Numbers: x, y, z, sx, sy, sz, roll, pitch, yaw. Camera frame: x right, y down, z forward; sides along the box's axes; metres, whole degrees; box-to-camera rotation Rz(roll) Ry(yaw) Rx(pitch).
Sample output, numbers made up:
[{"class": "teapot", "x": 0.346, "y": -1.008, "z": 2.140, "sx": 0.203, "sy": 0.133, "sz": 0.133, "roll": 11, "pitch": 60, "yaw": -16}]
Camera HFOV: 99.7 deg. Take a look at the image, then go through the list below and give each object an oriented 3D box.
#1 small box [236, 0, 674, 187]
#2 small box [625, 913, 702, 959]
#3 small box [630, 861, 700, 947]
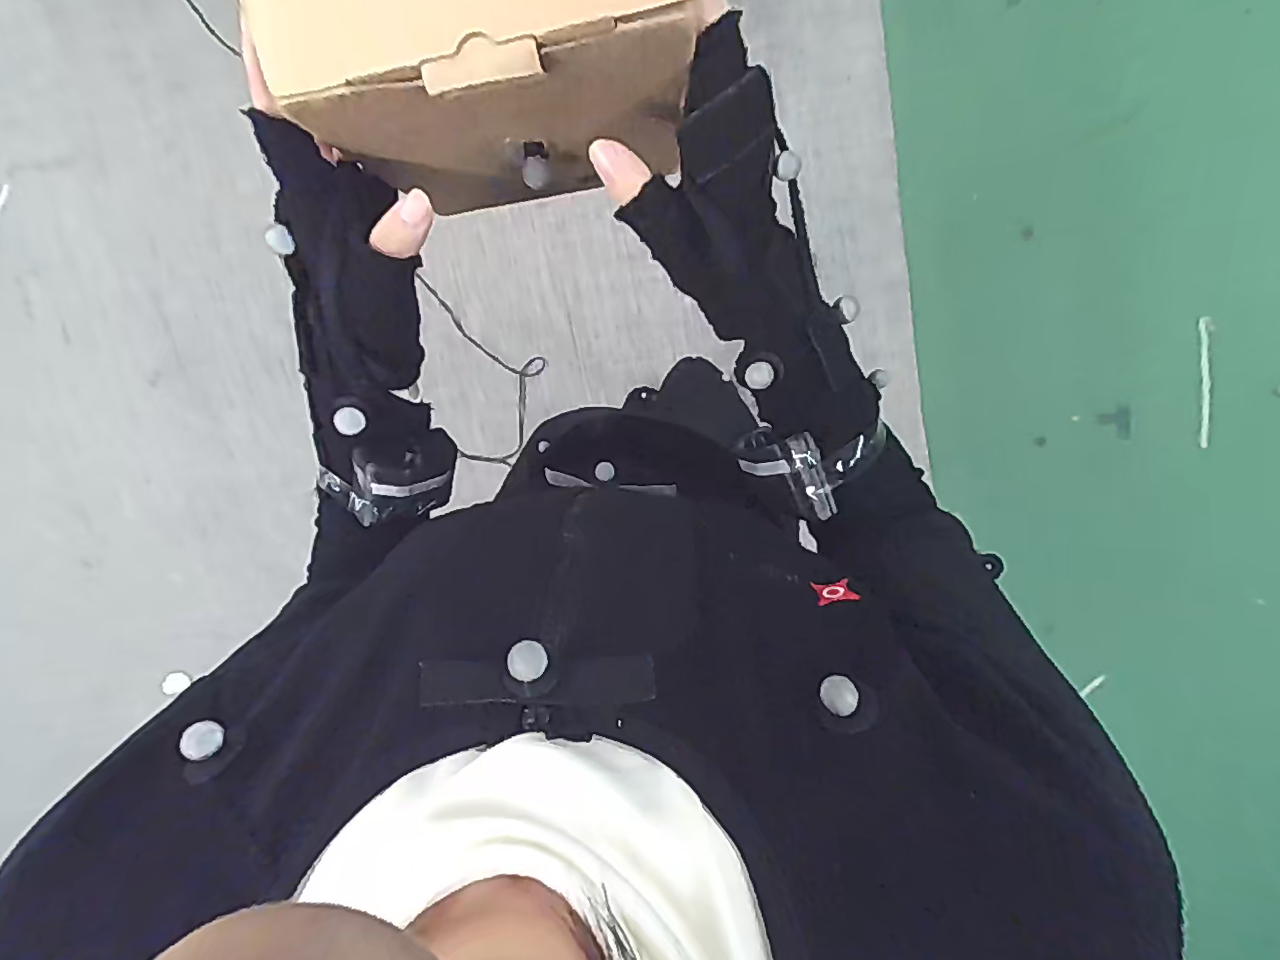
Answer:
[{"class": "small box", "x": -0.072, "y": -0.260, "z": 0.259, "sx": 0.168, "sy": 0.176, "sz": 0.179, "roll": -7, "pitch": 103, "yaw": 4}, {"class": "small box", "x": 0.062, "y": 1.241, "z": 1.359, "sx": 0.179, "sy": 0.176, "sz": 0.168, "roll": -13, "pitch": 100, "yaw": 4}, {"class": "small box", "x": 0.071, "y": 1.211, "z": 1.520, "sx": 0.168, "sy": 0.176, "sz": 0.179, "roll": -11, "pitch": 101, "yaw": 5}]
